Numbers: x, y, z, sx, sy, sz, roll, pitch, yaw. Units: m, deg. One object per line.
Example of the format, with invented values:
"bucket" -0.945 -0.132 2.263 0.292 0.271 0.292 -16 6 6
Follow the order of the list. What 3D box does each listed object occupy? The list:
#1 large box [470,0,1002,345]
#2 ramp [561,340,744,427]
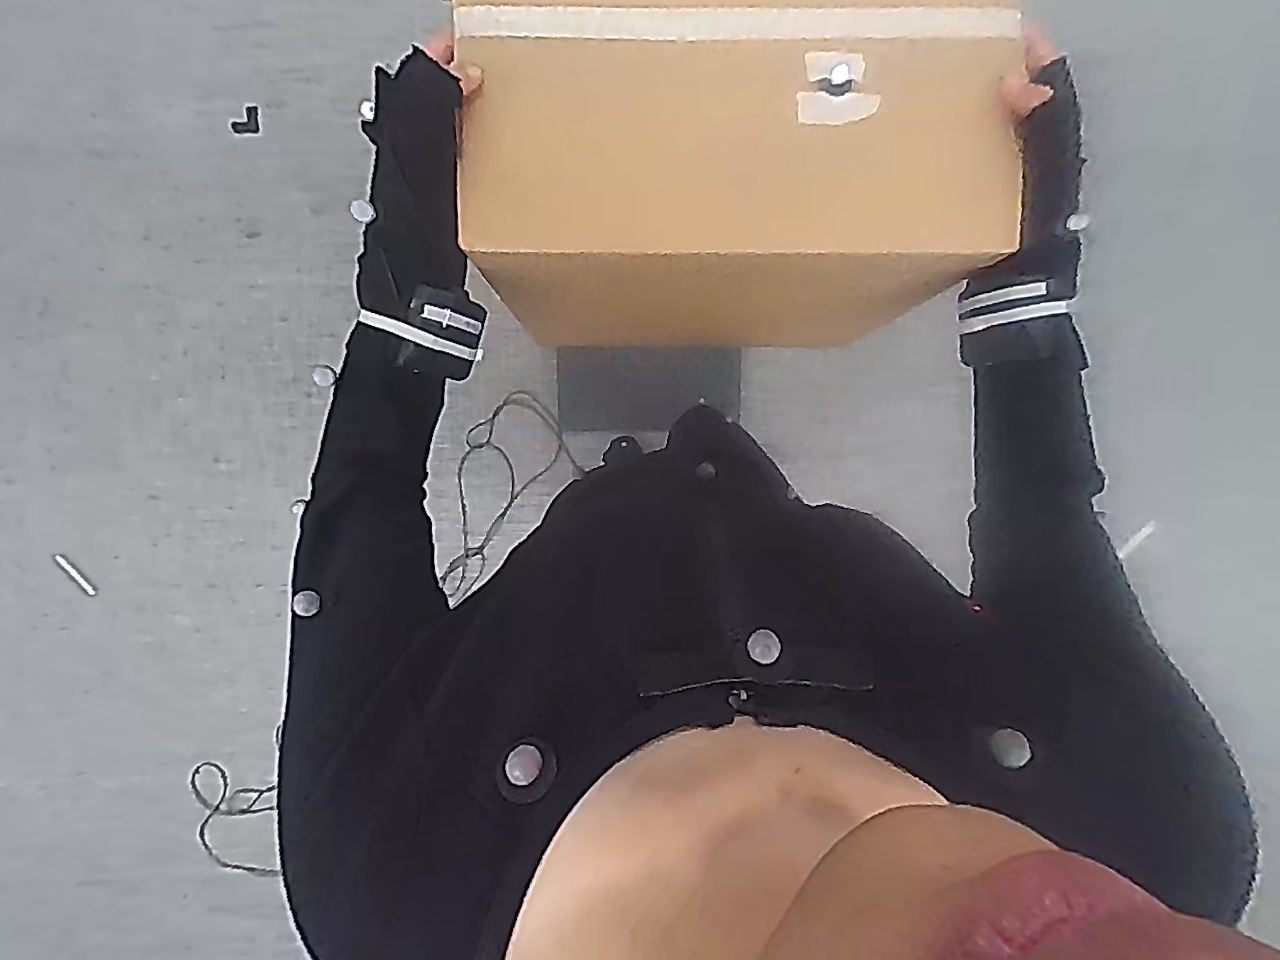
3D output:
"large box" 0.068 -0.330 0.553 0.408 0.320 0.320 0 91 -1
"ramp" 0.032 -0.637 1.371 0.509 0.206 0.991 -3 93 -3
